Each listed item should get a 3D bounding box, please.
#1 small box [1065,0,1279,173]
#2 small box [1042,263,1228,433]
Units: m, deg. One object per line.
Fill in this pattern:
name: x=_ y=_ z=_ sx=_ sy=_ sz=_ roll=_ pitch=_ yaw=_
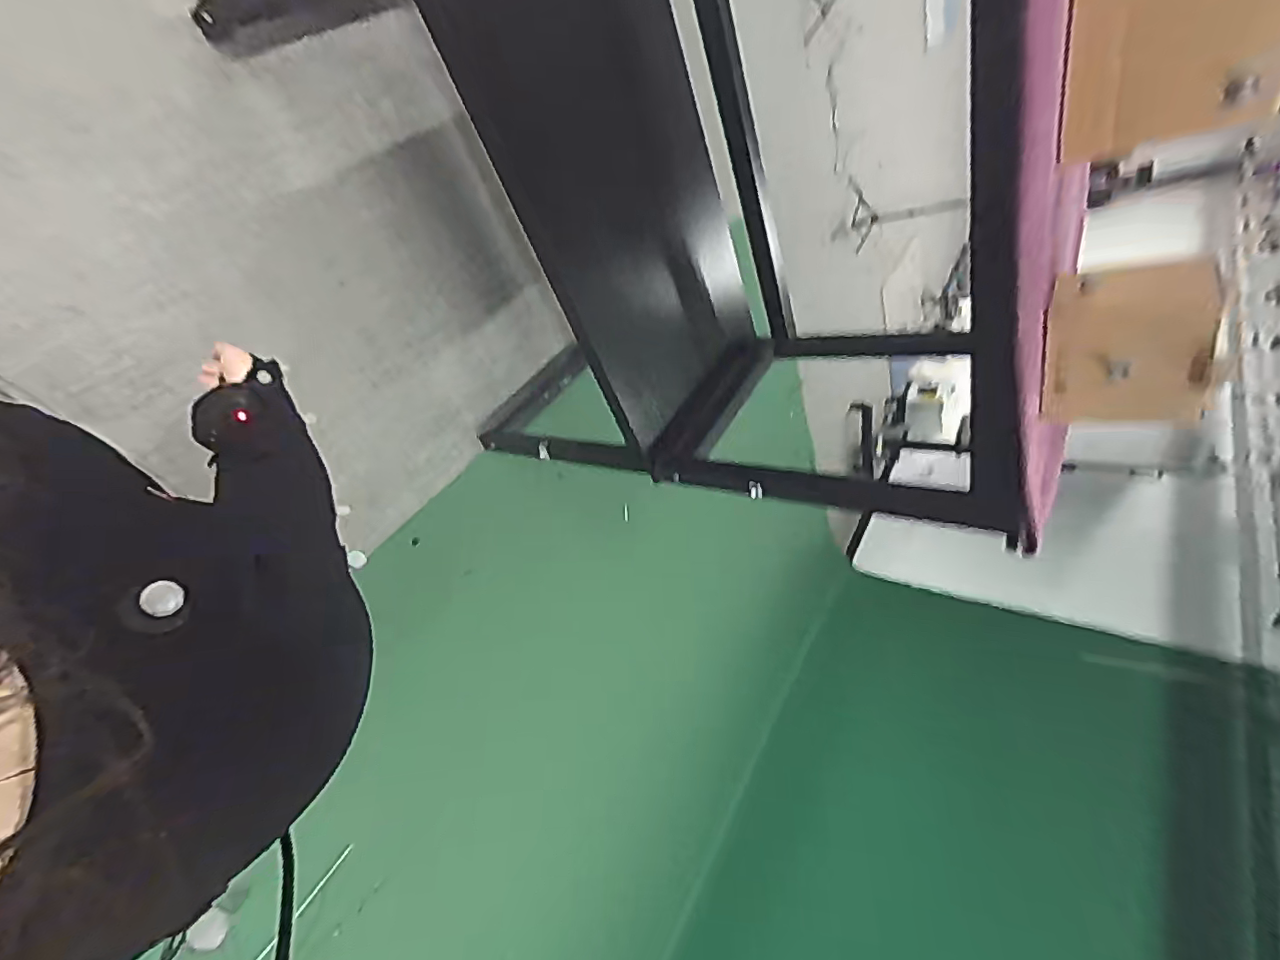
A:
small box: x=0.541 y=-0.442 z=0.539 sx=0.168 sy=0.176 sz=0.179 roll=-53 pitch=134 yaw=-32
small box: x=0.672 y=-0.179 z=0.751 sx=0.179 sy=0.176 sz=0.168 roll=-46 pitch=129 yaw=-37
